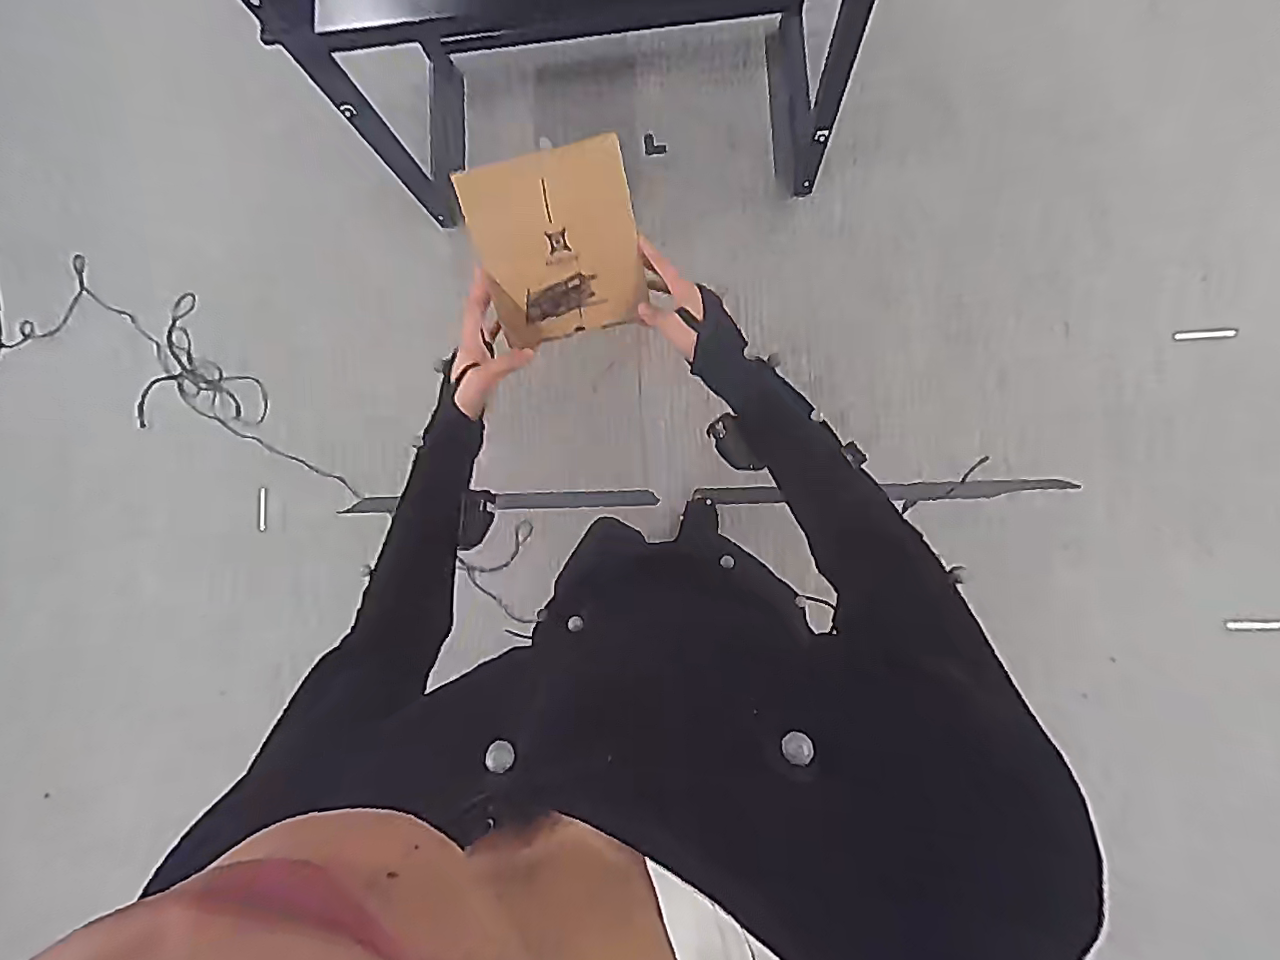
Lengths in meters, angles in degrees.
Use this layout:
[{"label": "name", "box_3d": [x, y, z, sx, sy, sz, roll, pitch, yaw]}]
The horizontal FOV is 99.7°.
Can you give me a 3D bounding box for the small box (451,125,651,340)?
[{"label": "small box", "box_3d": [-0.087, -0.281, 0.612, 0.168, 0.176, 0.179, -13, 121, 2]}]
